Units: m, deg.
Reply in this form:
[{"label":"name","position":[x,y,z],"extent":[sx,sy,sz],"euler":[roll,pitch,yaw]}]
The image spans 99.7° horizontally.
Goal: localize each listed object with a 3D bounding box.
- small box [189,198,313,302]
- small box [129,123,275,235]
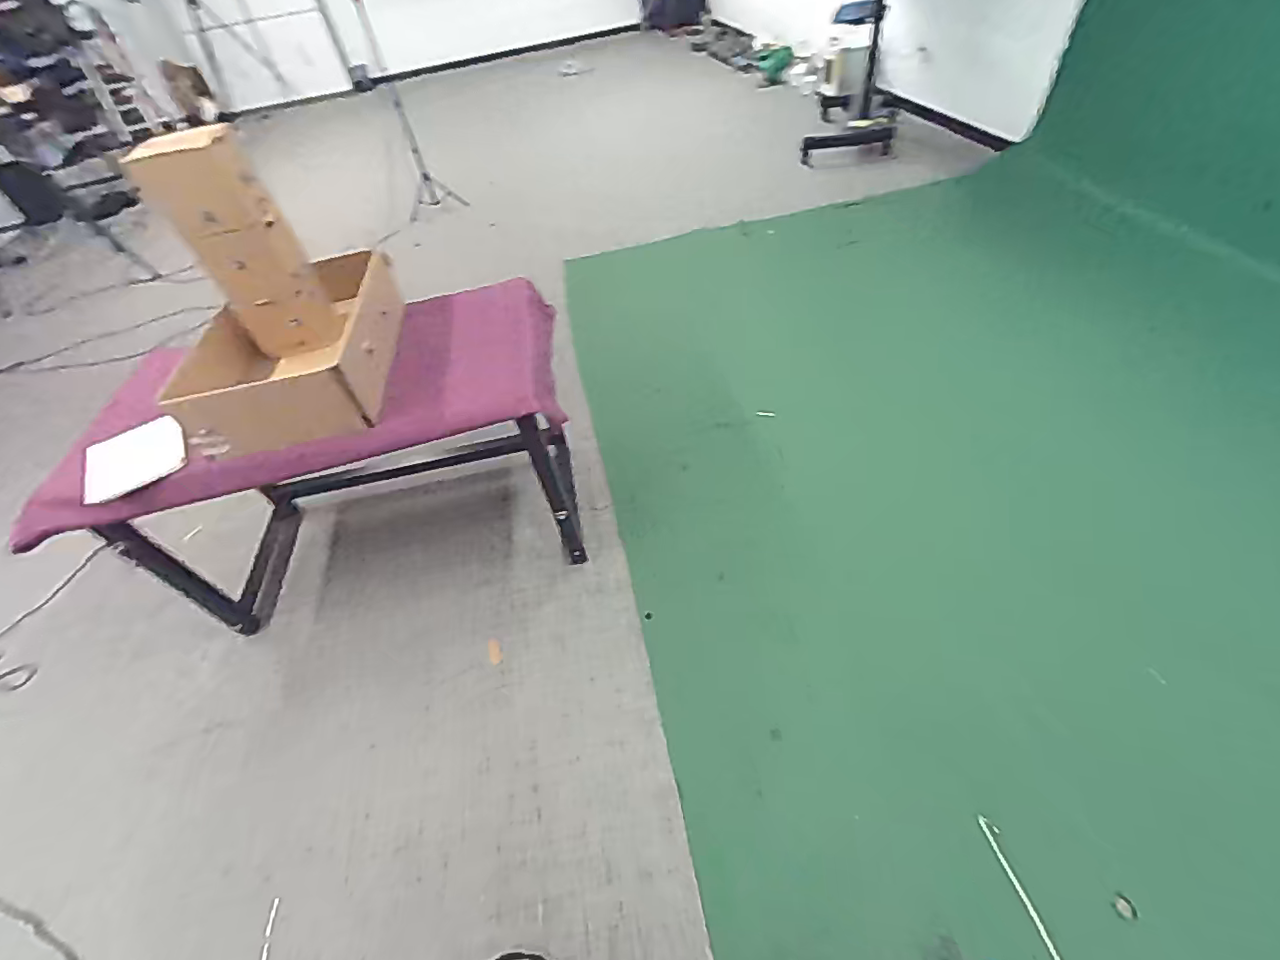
[{"label":"small box","position":[-0.957,-0.573,1.352],"extent":[0.179,0.176,0.168],"euler":[-14,48,-3]},{"label":"small box","position":[-0.980,-0.684,1.232],"extent":[0.179,0.176,0.168],"euler":[-11,48,-3]}]
